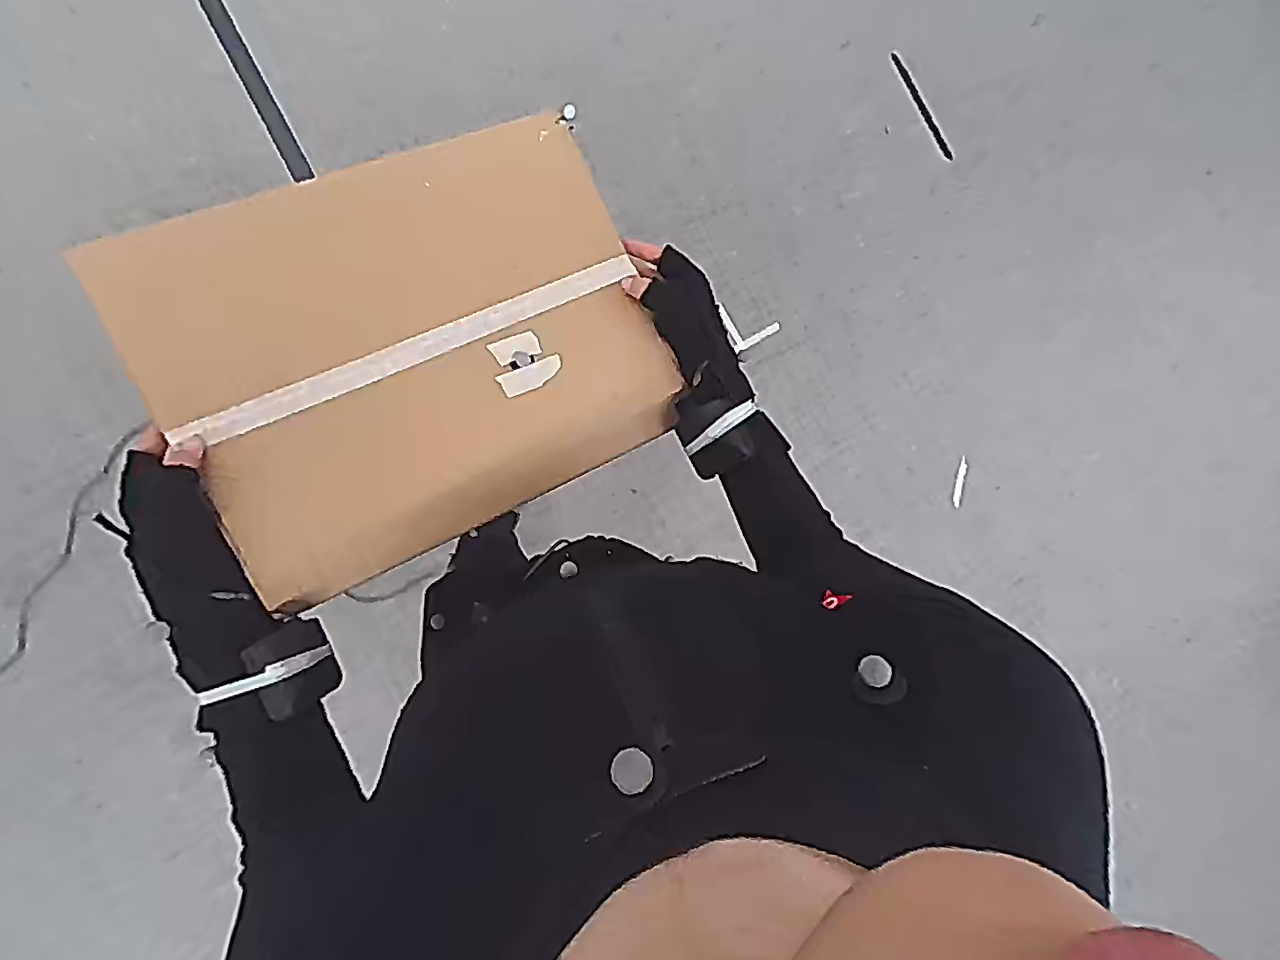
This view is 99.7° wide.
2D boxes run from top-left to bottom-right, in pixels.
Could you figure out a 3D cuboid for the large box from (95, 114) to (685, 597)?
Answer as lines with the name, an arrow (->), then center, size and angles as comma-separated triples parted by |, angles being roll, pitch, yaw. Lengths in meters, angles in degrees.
large box -> -0.229, -0.120, 0.621 | 0.408, 0.320, 0.320 | -28, 97, -16
